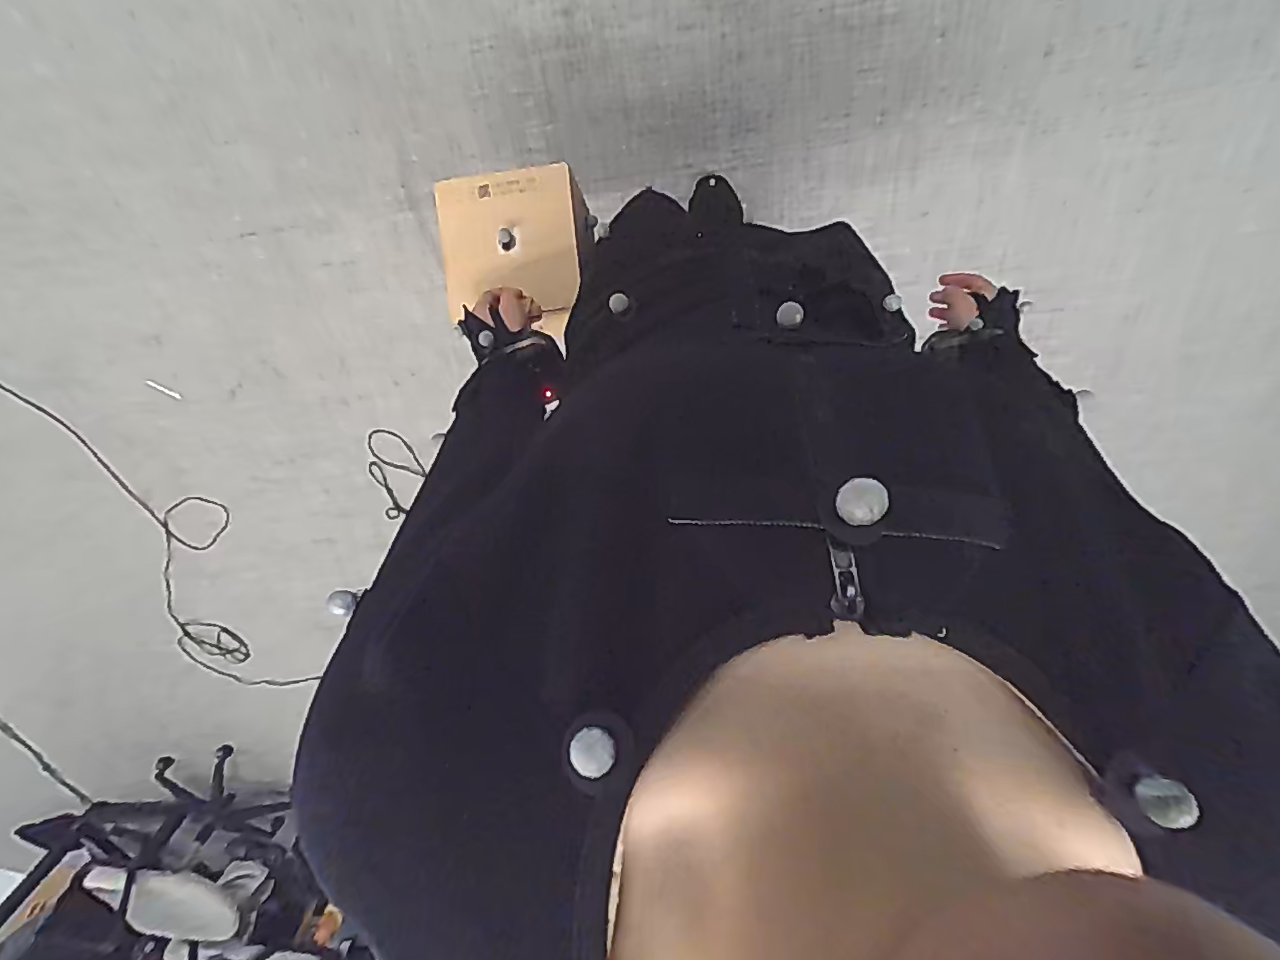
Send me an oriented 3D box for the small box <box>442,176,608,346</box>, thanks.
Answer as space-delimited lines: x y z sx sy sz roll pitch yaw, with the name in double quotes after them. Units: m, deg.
-0.145 -0.287 0.726 0.168 0.179 0.176 -6 97 6 "small box"
